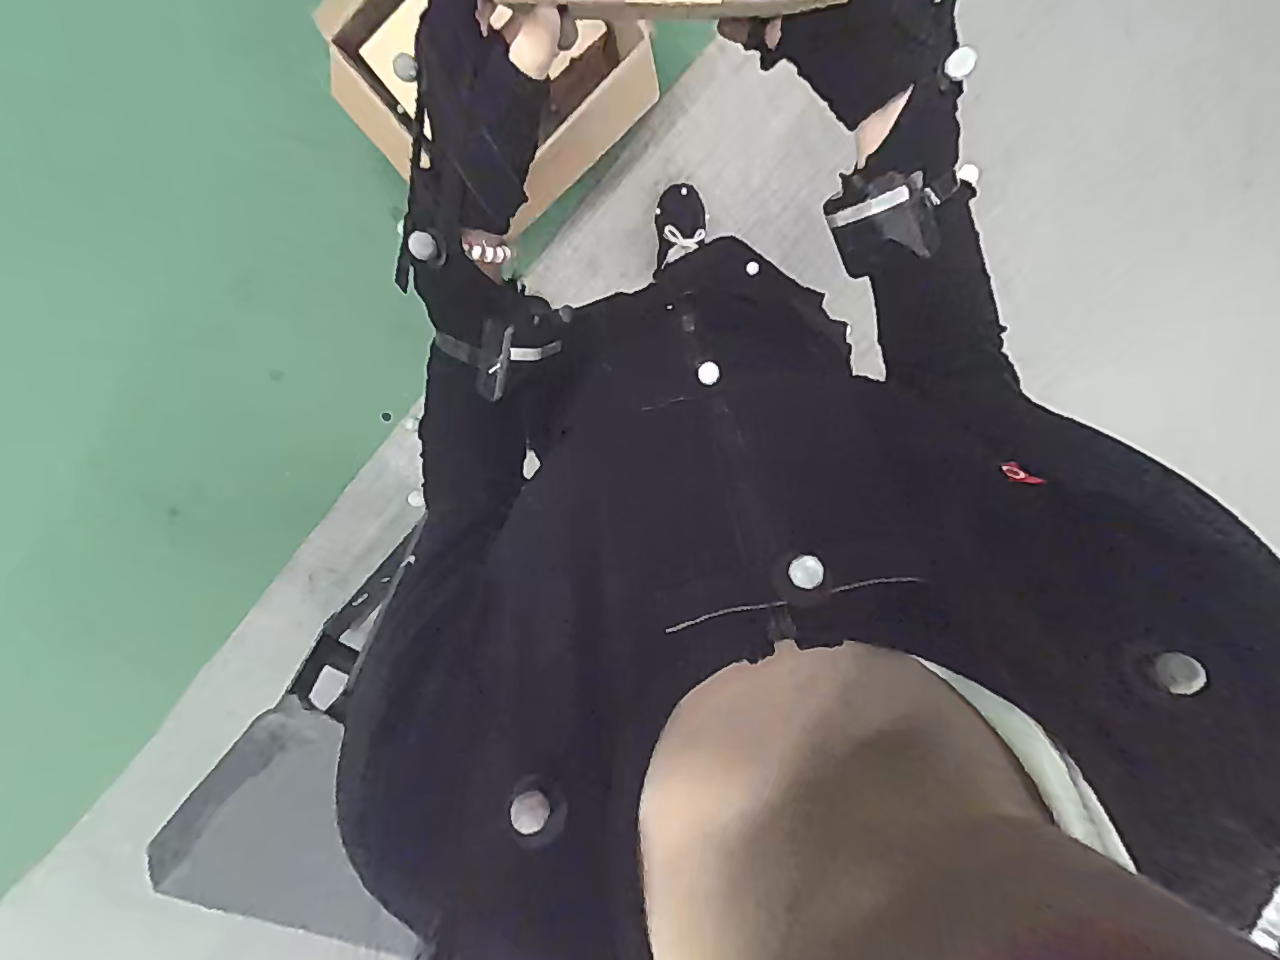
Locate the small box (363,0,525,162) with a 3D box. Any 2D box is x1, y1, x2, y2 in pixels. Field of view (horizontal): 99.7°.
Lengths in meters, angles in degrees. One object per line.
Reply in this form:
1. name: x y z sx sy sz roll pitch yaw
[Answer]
1. small box: -0.313 -0.664 0.902 0.168 0.176 0.179 -35 115 11
